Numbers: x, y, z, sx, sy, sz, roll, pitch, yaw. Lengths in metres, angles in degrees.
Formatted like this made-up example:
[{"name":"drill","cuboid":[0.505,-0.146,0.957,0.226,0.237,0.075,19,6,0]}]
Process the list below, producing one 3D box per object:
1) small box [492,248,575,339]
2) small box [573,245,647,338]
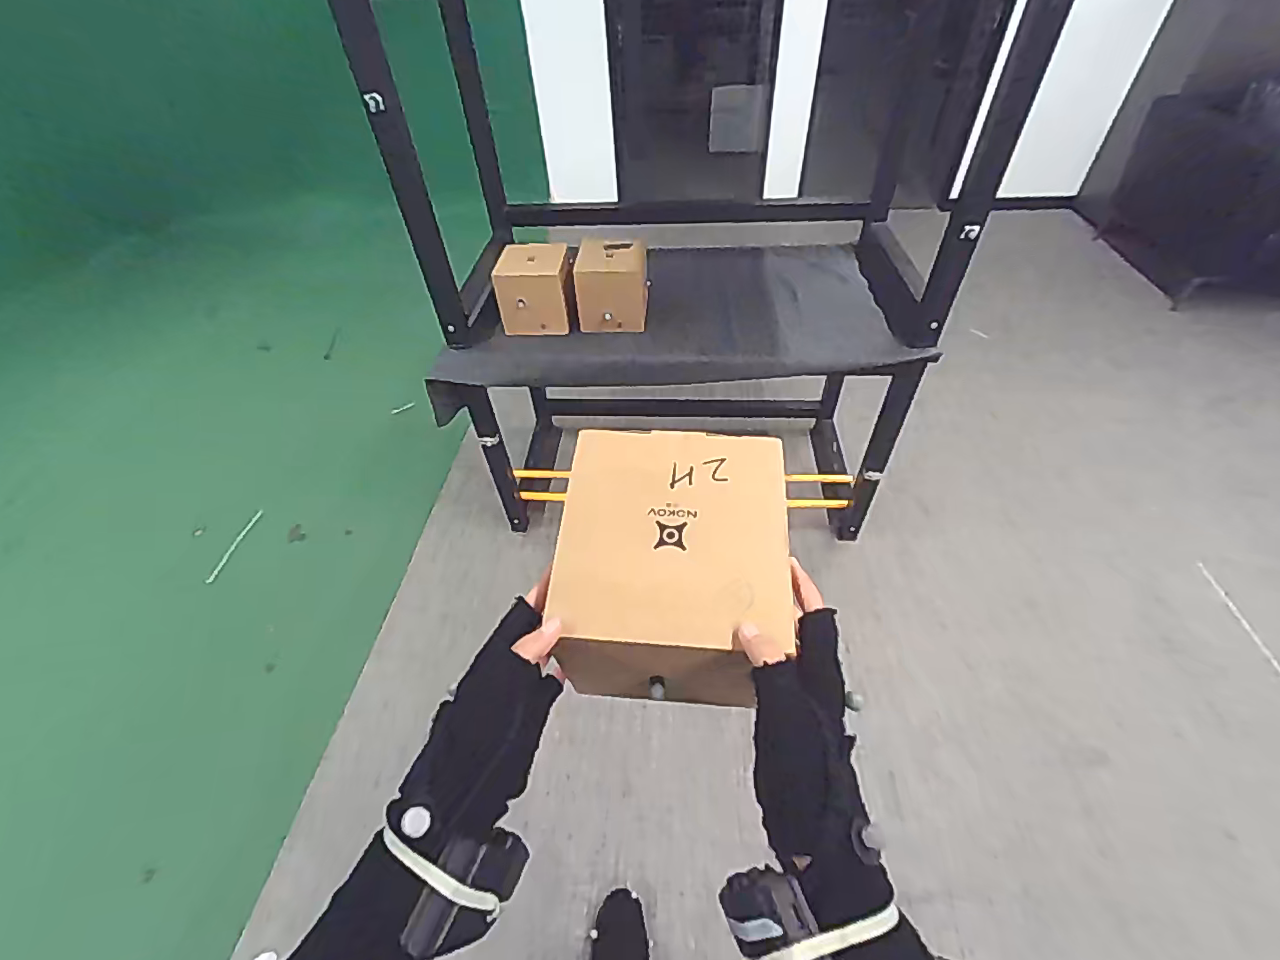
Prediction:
[{"name":"small box","cuboid":[-0.266,-0.478,1.398,0.168,0.176,0.179,0,46,3]},{"name":"small box","cuboid":[-0.069,-0.486,1.392,0.168,0.176,0.179,0,47,5]}]
